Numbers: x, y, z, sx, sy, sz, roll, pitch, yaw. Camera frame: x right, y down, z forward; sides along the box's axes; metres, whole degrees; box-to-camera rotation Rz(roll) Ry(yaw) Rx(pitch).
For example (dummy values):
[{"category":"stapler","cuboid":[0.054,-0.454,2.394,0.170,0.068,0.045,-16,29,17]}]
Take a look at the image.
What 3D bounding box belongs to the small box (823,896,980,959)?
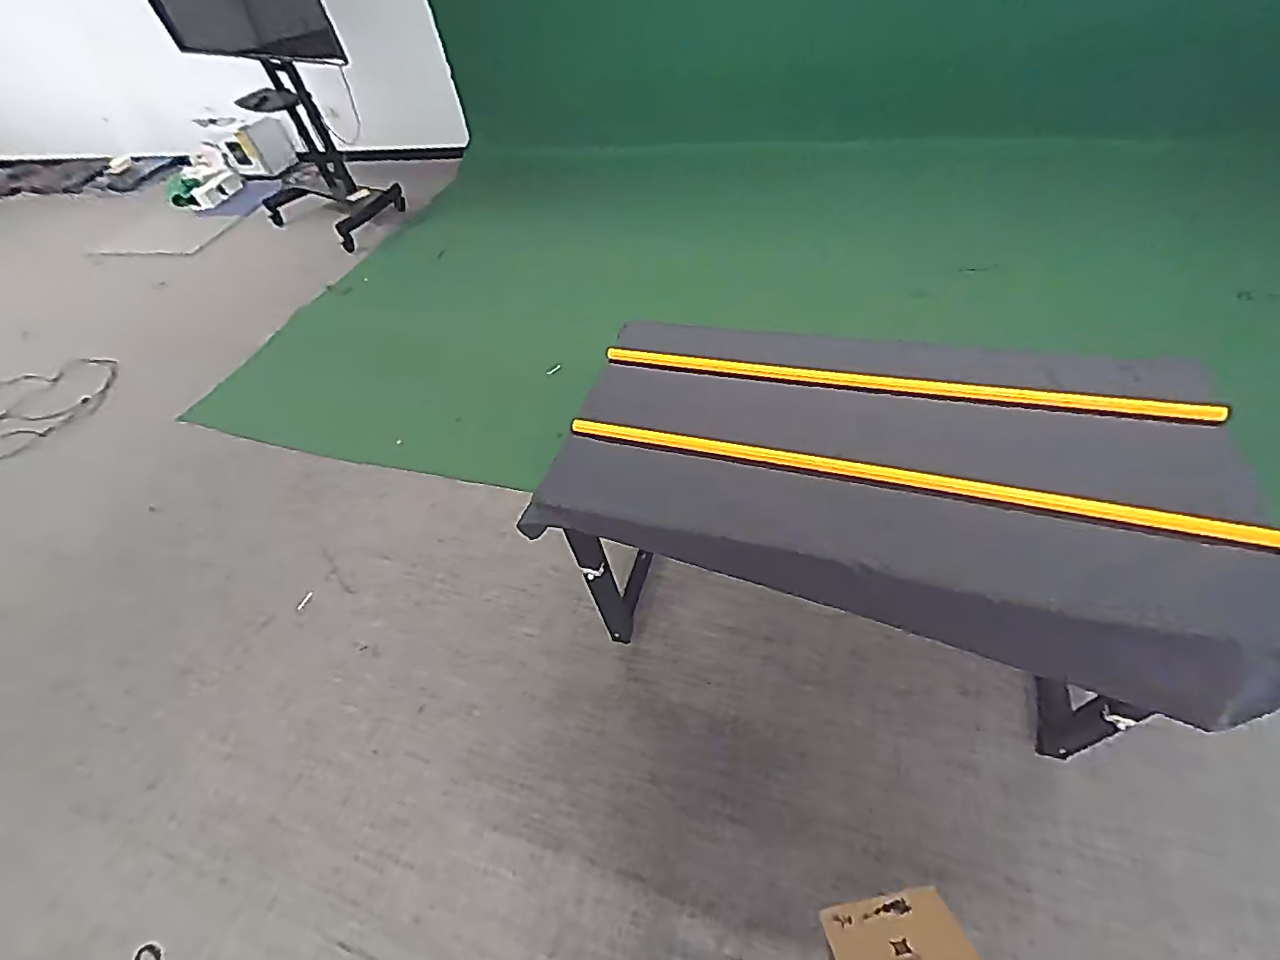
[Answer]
[{"category":"small box","cuboid":[0.350,0.670,0.654,0.168,0.179,0.176,-16,90,0]}]
